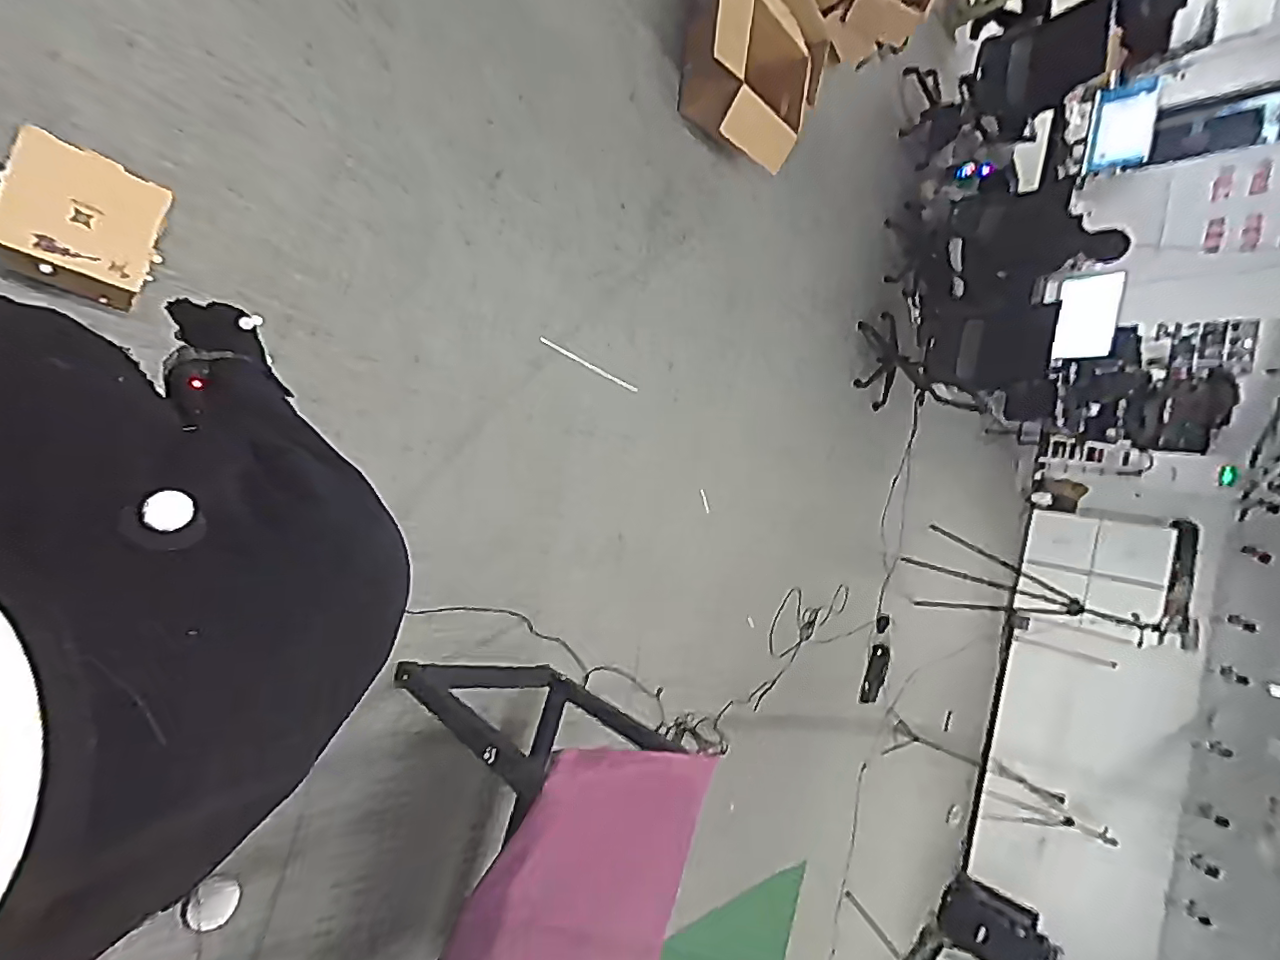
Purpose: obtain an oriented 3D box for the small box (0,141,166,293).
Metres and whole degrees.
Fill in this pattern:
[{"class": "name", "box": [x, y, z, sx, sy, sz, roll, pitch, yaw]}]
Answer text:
[{"class": "small box", "box": [-0.992, -0.450, 0.962, 0.179, 0.176, 0.168, 21, 83, -47]}]
